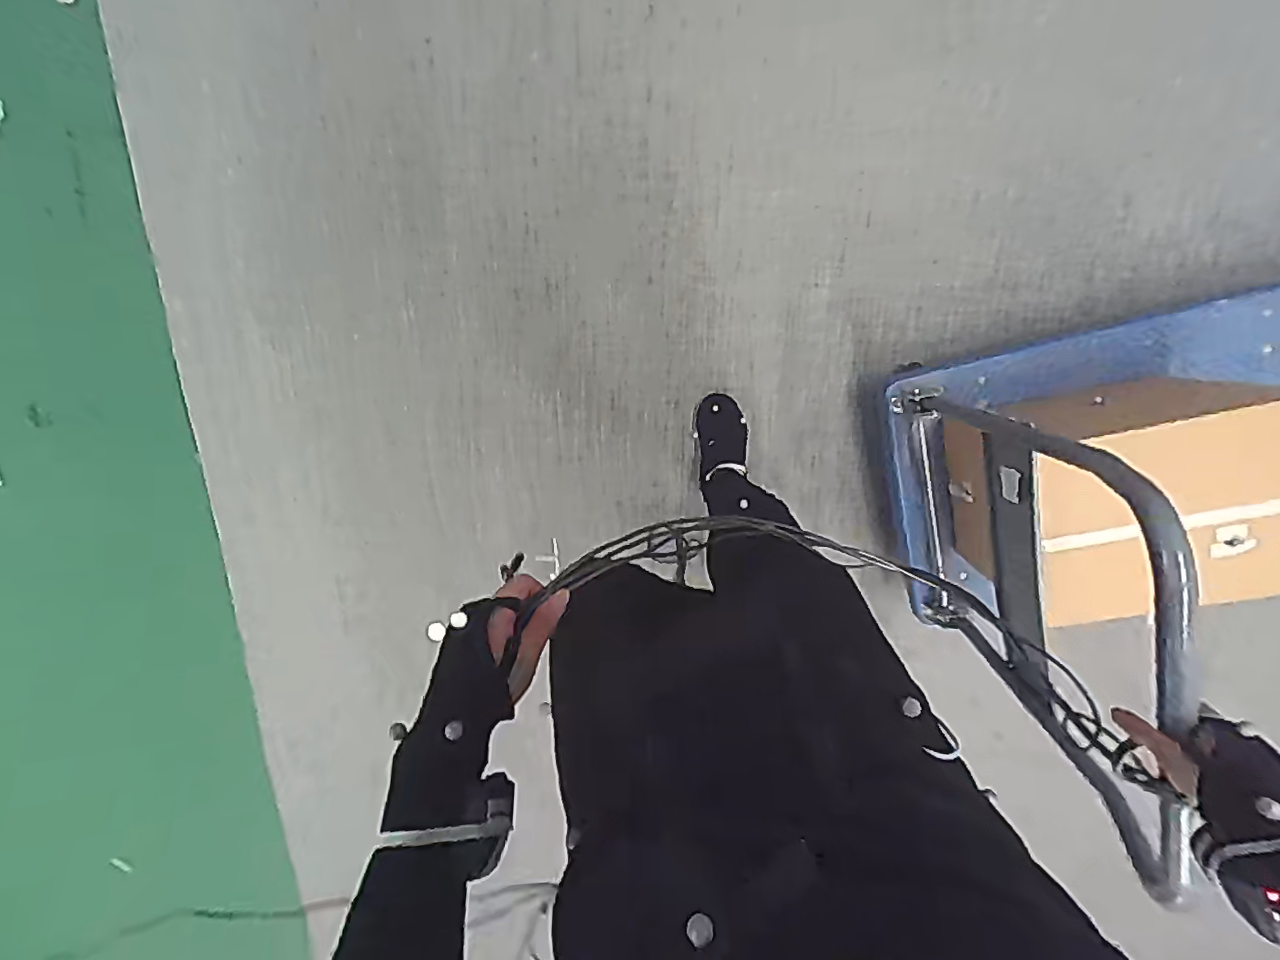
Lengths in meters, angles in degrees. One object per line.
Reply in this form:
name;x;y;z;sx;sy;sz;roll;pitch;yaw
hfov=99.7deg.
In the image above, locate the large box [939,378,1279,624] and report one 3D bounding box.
large box;0.828;0.018;0.978;0.408;0.320;0.320;-12;104;8
